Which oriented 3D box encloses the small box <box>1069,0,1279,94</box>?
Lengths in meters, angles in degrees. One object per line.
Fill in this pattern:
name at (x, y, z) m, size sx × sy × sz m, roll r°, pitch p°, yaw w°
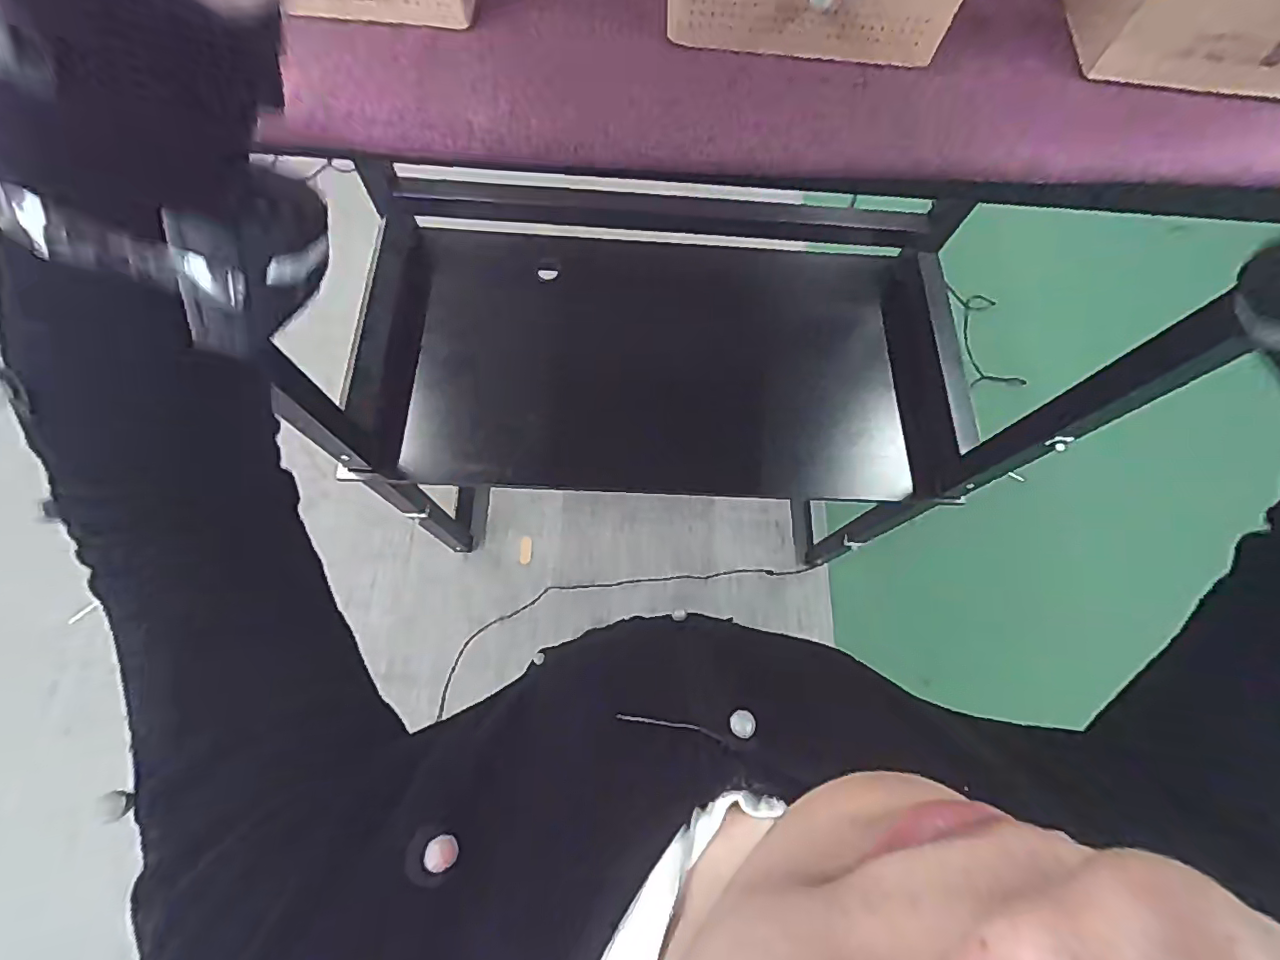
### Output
small box at (0.391, -0.367, 0.316) m, size 0.168 × 0.176 × 0.179 m, roll 7°, pitch 68°, yaw -1°
